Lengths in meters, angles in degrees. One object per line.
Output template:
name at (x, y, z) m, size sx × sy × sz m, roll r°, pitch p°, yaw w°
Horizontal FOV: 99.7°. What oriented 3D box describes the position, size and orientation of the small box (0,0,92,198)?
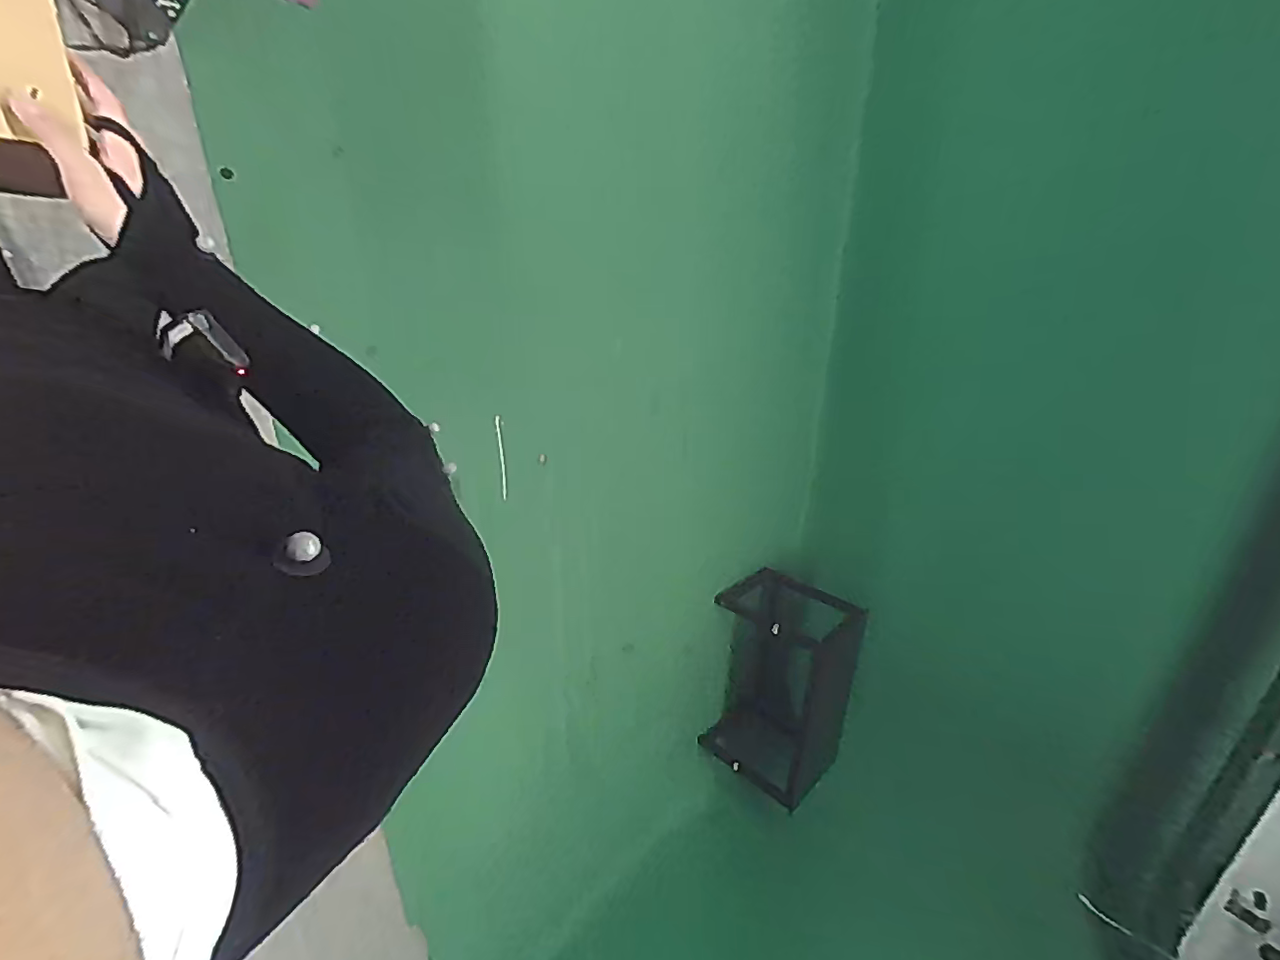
small box at (-0.558, -0.340, 0.413) m, size 0.168 × 0.176 × 0.179 m, roll -15°, pitch 108°, yaw -44°
